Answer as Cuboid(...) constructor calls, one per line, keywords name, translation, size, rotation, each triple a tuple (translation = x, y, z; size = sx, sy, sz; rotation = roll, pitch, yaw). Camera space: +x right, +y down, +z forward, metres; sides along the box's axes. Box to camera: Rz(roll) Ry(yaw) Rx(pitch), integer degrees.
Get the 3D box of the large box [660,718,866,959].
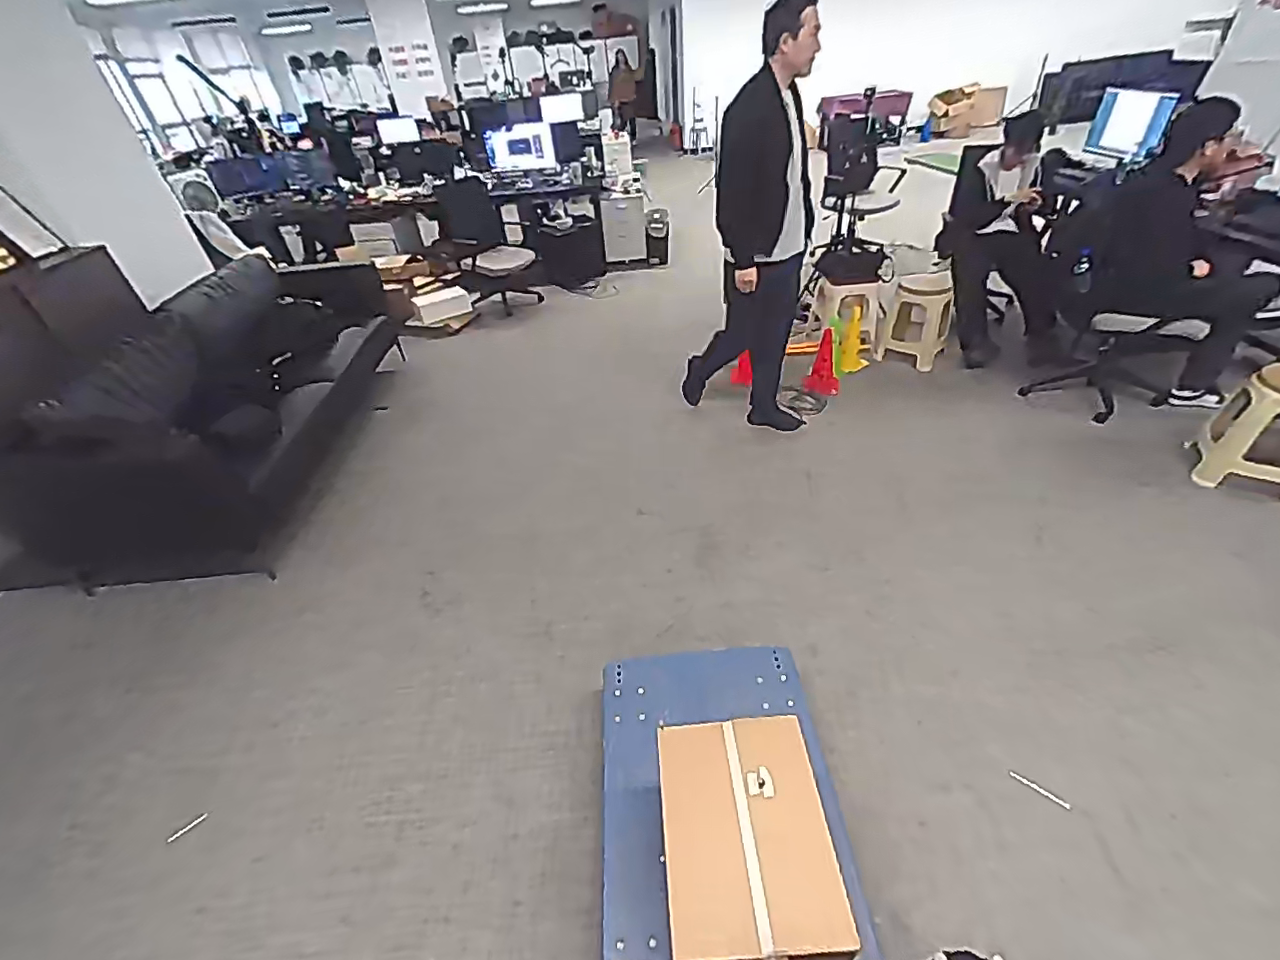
Cuboid(name="large box", translation=(0.221, 0.776, 1.119), size=(0.320, 0.320, 0.408), rotation=(-5, 37, 1))
